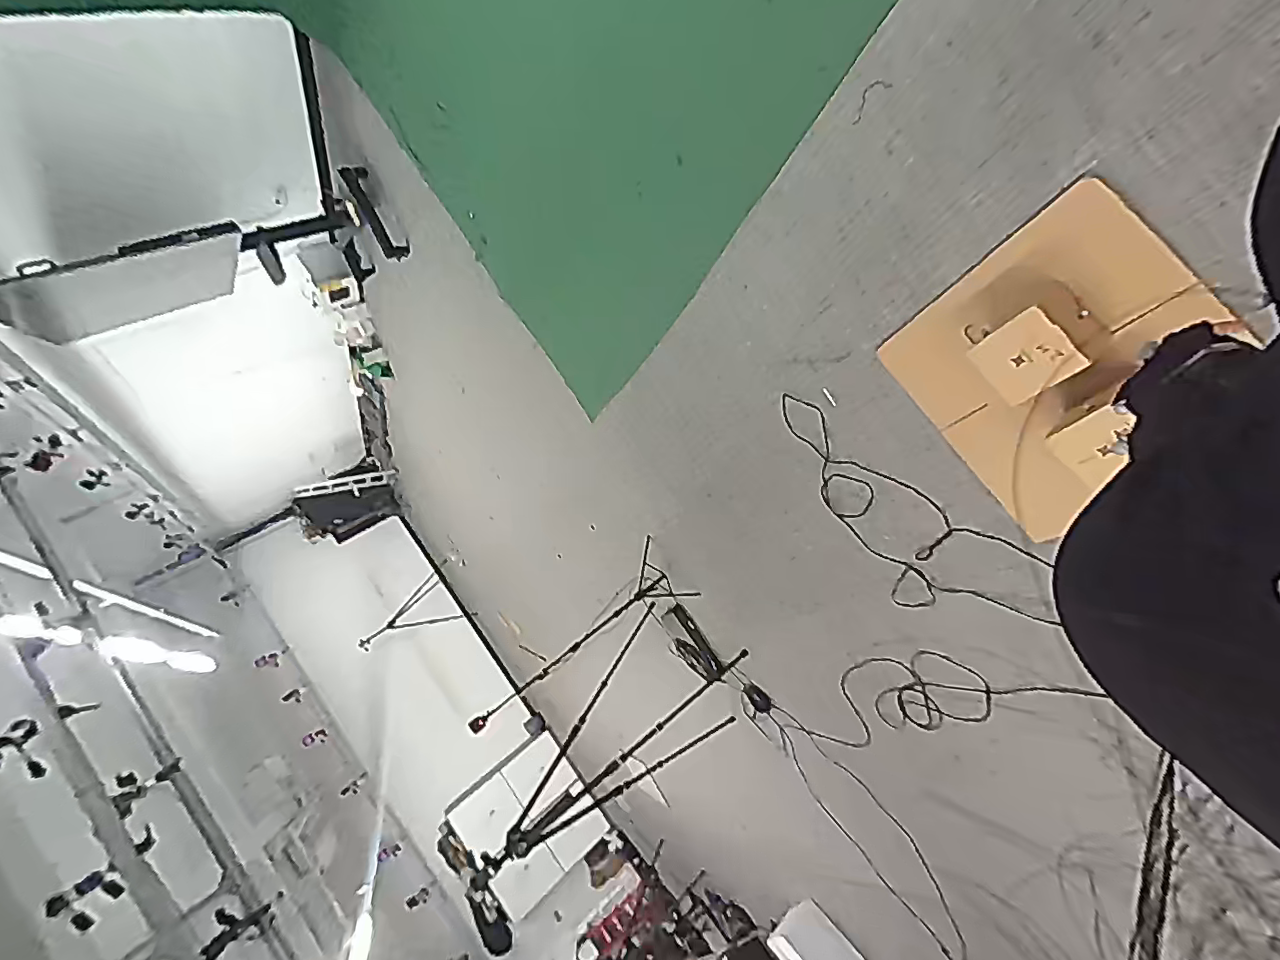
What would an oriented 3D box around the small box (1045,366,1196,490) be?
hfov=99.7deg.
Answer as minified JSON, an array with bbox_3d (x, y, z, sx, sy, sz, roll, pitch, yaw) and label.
[{"bbox_3d":[1.035,-0.115,1.163,0.168,0.176,0.179,50,149,11],"label":"small box"}]

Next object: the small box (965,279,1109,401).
[{"bbox_3d":[0.882,-0.311,1.204,0.168,0.176,0.179,52,149,6],"label":"small box"}]
